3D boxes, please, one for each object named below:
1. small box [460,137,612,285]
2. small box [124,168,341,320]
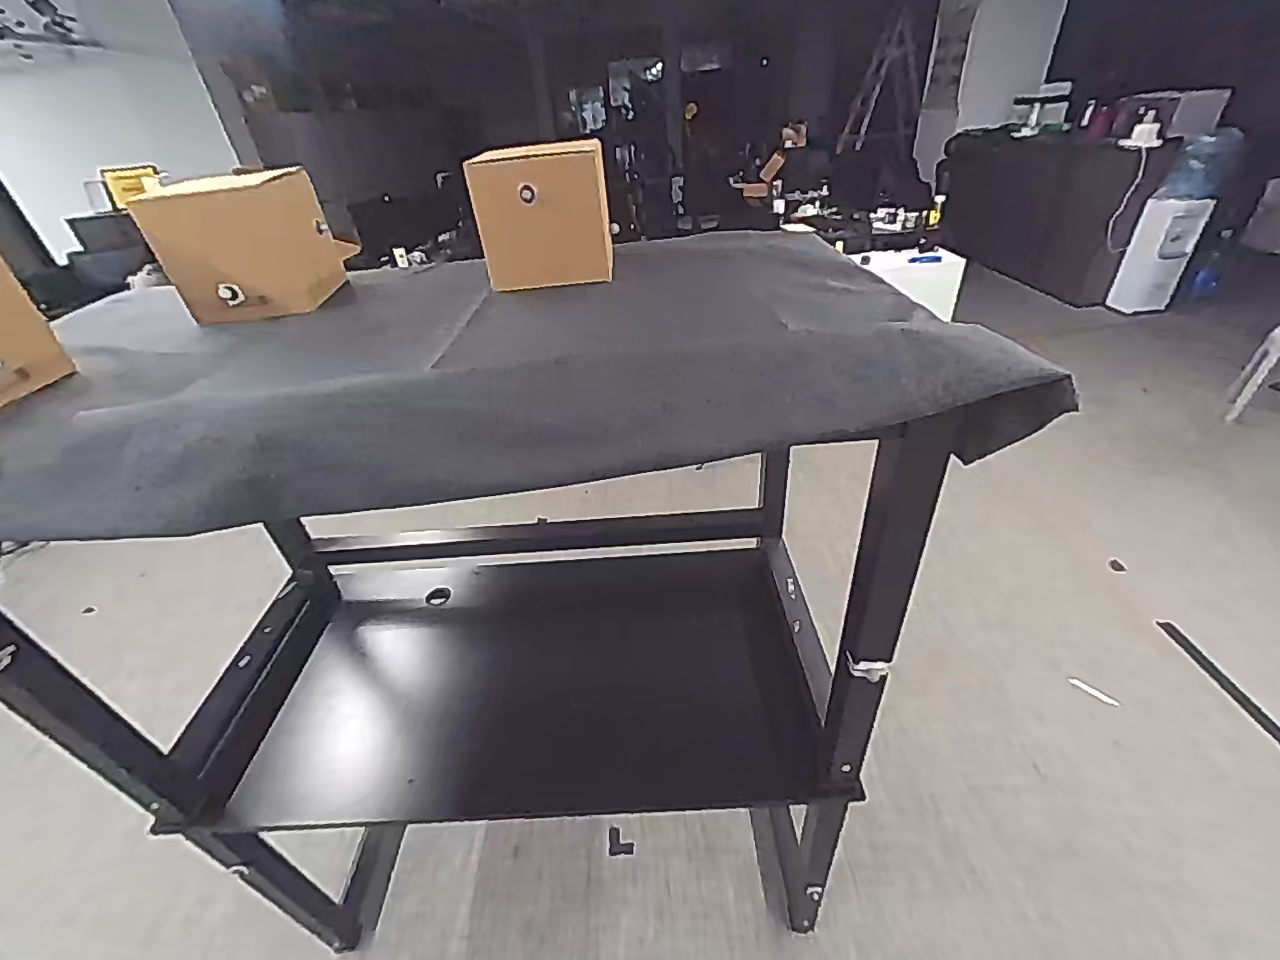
[{"bbox_3d":[-0.140,-0.397,0.799,0.179,0.176,0.168,-5,36,2],"label":"small box"},{"bbox_3d":[-0.570,-0.348,0.793,0.168,0.176,0.179,-9,35,-3],"label":"small box"}]
